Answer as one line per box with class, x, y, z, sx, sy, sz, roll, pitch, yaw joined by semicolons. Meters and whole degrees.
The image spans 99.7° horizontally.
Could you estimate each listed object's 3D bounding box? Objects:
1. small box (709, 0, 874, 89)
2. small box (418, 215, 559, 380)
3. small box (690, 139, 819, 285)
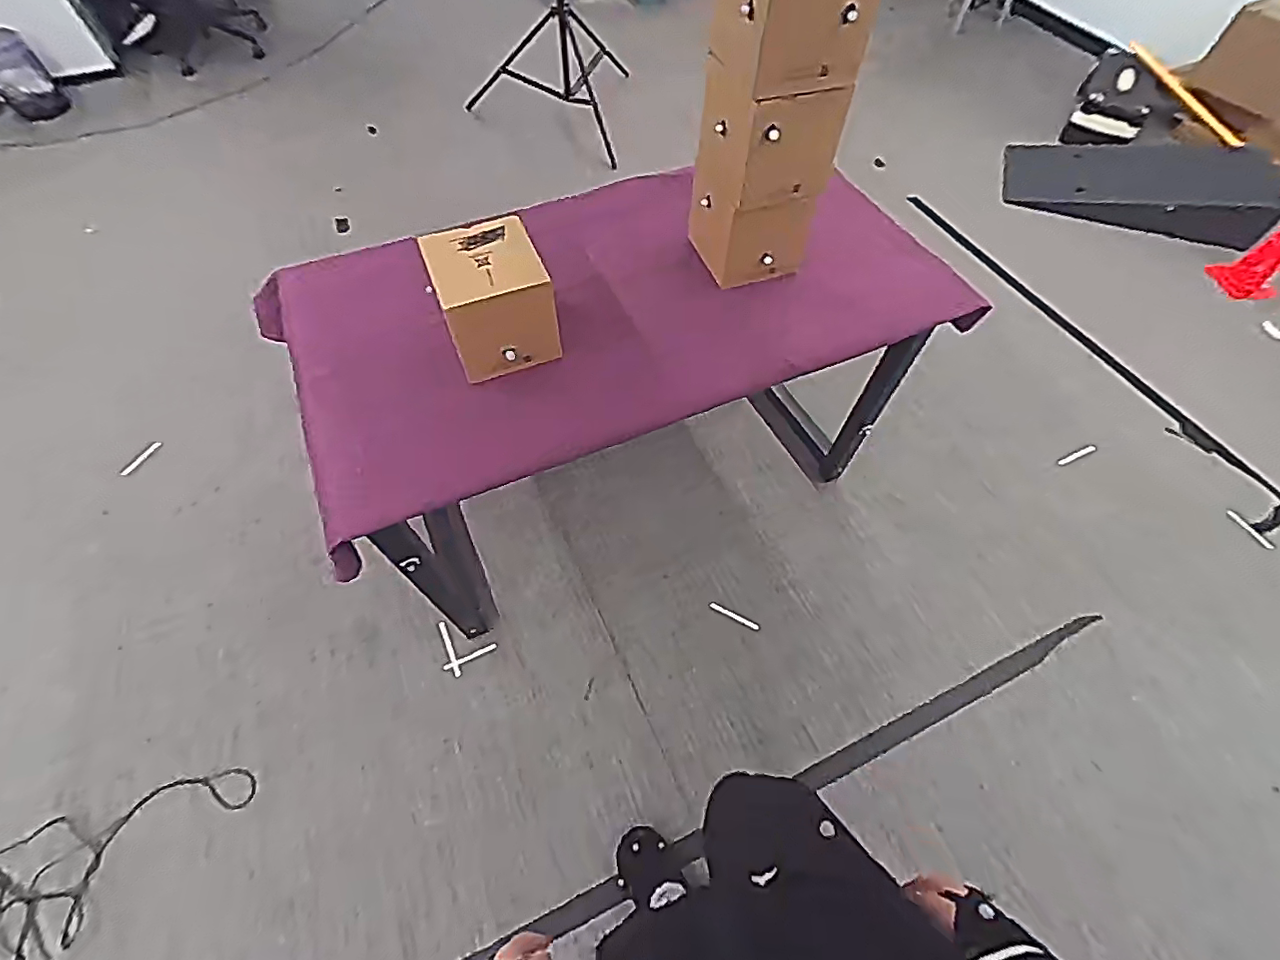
small box;0.207;-0.660;0.735;0.168;0.176;0.179;-15;60;-10
small box;-0.244;-0.299;0.895;0.168;0.176;0.179;-20;63;-12
small box;0.203;-0.502;1.022;0.168;0.176;0.179;-17;62;-10
